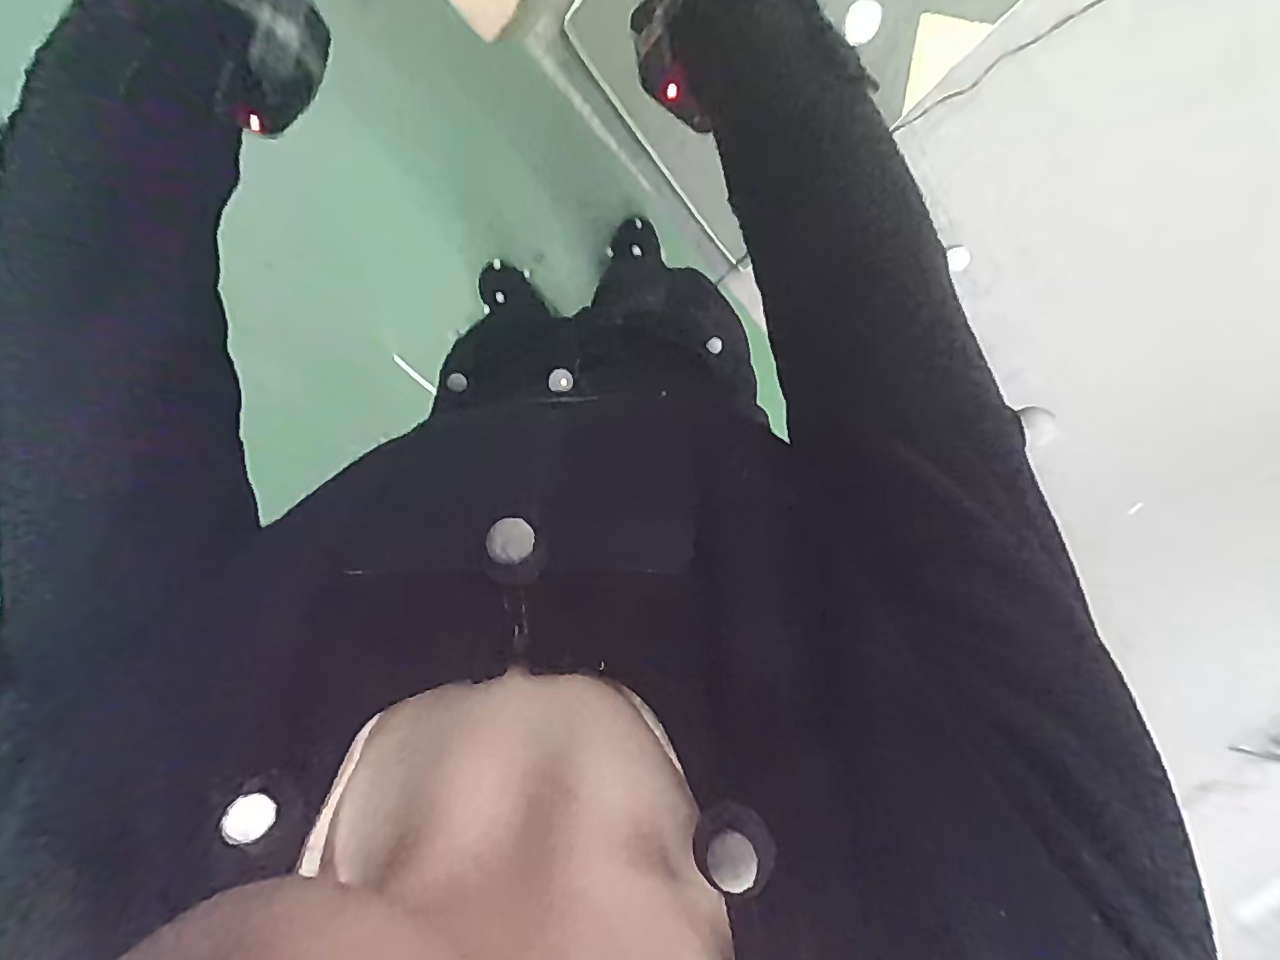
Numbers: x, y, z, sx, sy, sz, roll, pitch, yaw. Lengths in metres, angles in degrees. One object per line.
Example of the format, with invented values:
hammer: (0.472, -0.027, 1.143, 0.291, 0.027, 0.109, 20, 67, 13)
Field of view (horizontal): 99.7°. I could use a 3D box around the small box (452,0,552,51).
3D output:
small box: (-0.096, -0.436, 0.354, 0.168, 0.176, 0.179, -34, 125, 23)
